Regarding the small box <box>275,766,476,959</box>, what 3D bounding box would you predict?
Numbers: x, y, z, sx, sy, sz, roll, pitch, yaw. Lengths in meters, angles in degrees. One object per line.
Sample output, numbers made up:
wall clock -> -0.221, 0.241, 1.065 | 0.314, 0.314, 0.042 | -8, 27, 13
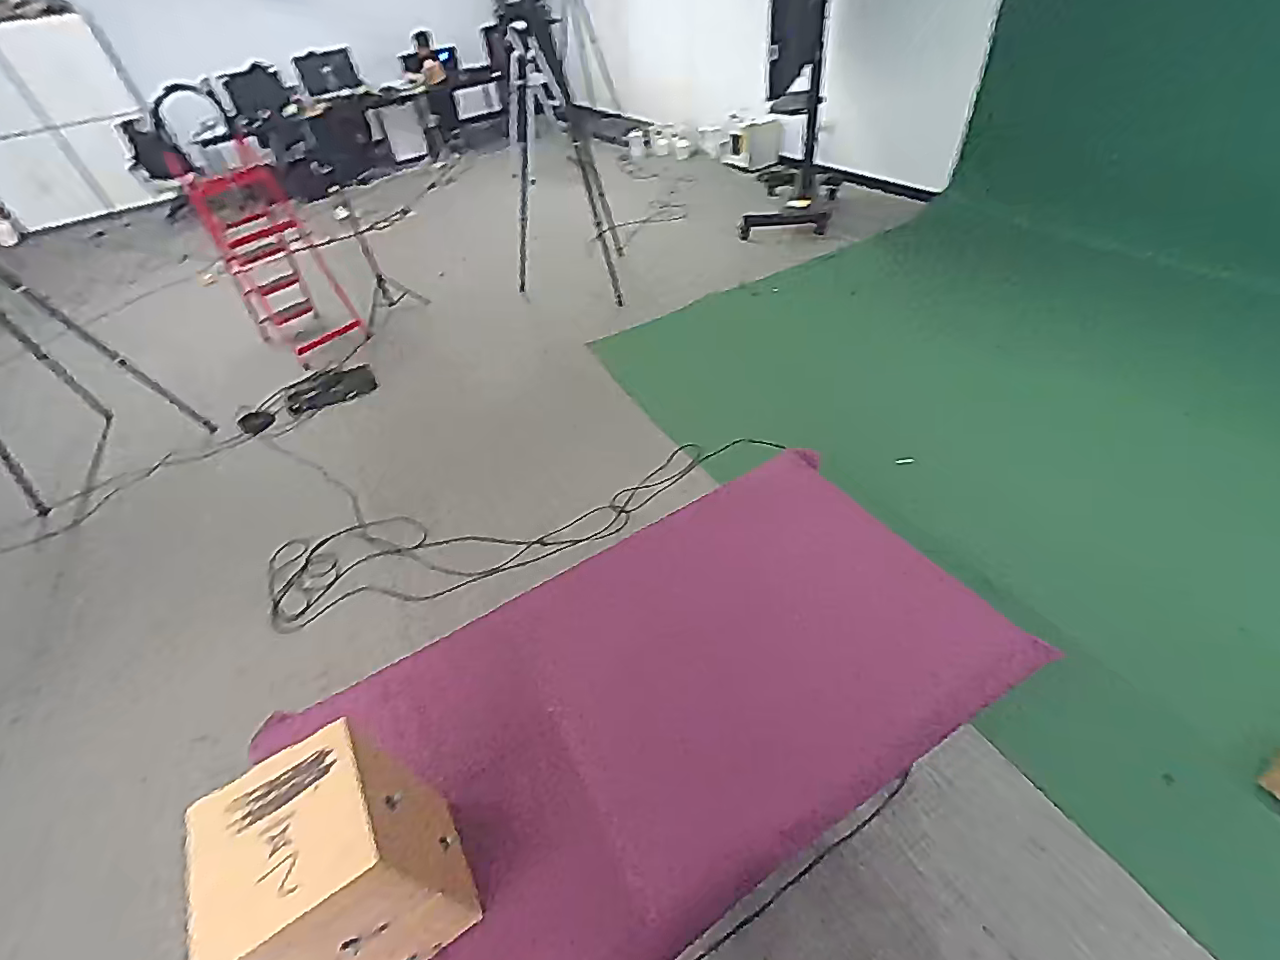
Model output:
small box -> -0.339, 0.526, 0.708 | 0.168, 0.176, 0.179 | -28, 48, -19

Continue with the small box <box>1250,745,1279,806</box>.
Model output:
small box -> 1.621, 0.714, 1.276 | 0.179, 0.176, 0.168 | -25, 46, -18
